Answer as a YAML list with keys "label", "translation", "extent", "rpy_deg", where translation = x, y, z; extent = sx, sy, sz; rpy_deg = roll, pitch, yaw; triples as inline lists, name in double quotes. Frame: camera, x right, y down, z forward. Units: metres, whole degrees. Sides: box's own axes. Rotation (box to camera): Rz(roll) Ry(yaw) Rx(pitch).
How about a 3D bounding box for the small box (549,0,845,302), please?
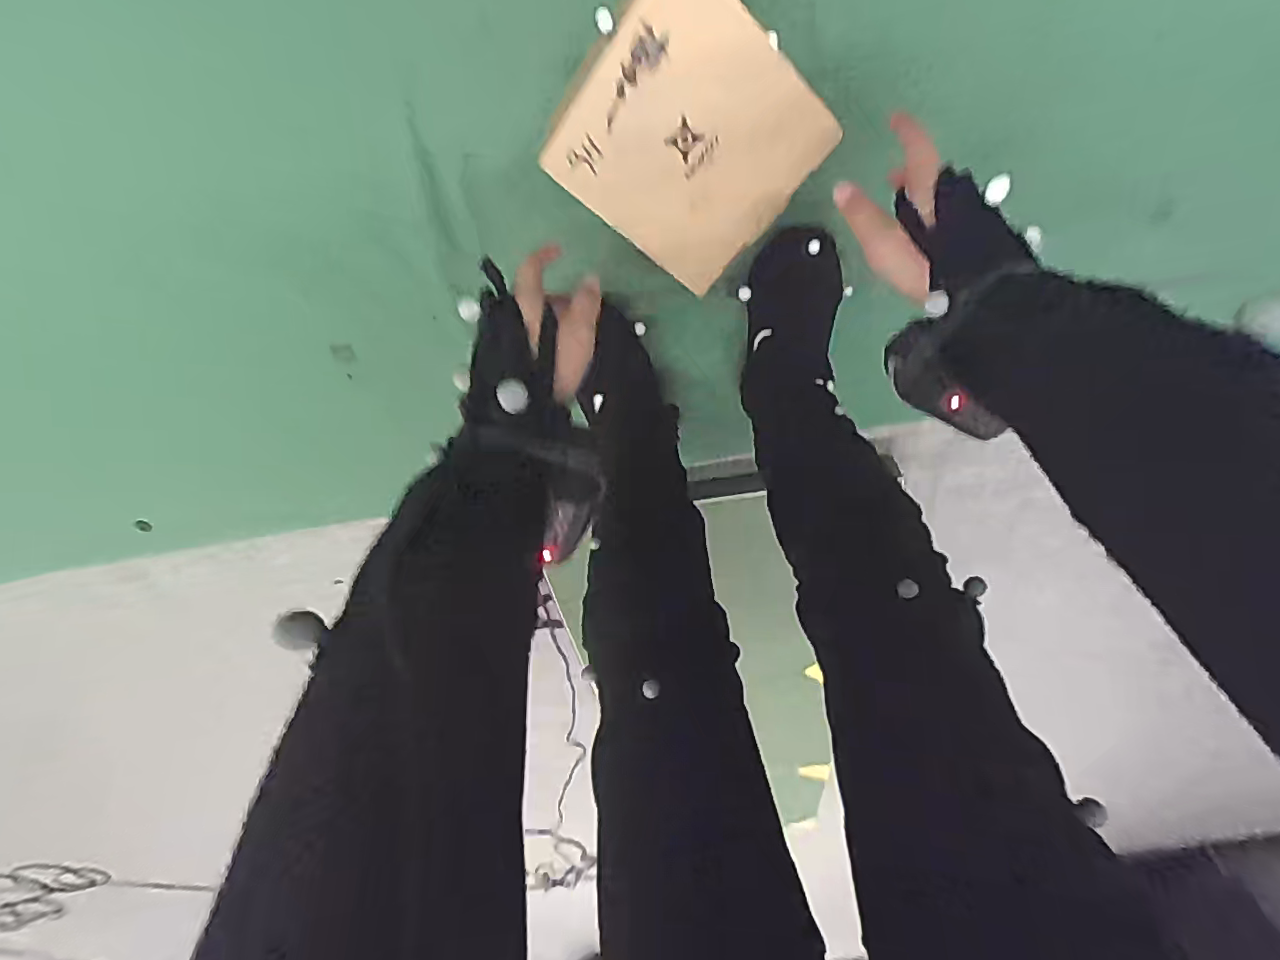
- label: "small box"
  translation: [0.040, -0.301, 0.478]
  extent: [0.179, 0.176, 0.168]
  rpy_deg: [29, 123, -28]
